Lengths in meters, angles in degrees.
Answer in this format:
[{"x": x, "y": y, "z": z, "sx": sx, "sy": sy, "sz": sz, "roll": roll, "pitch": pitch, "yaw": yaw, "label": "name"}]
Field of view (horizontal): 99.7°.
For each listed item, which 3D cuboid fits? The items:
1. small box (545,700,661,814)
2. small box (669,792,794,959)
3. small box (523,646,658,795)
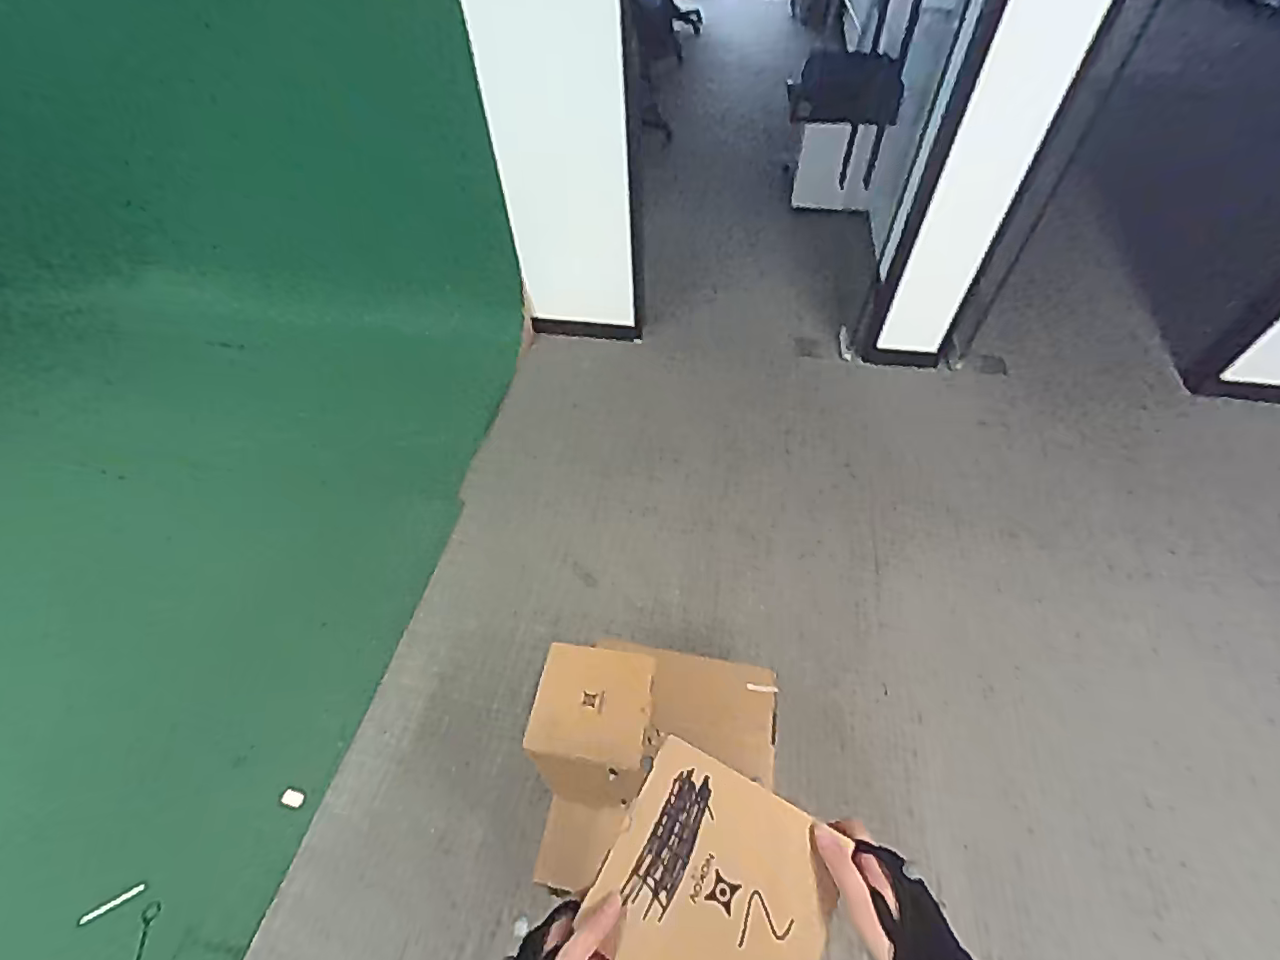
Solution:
[{"x": -0.058, "y": 0.501, "z": 0.997, "sx": 0.179, "sy": 0.176, "sz": 0.168, "roll": 5, "pitch": 49, "yaw": 8, "label": "small box"}, {"x": 0.143, "y": 0.637, "z": 0.872, "sx": 0.168, "sy": 0.176, "sz": 0.179, "roll": 11, "pitch": 51, "yaw": 10, "label": "small box"}, {"x": -0.069, "y": 0.391, "z": 0.877, "sx": 0.179, "sy": 0.176, "sz": 0.168, "roll": 7, "pitch": 49, "yaw": 7, "label": "small box"}]
